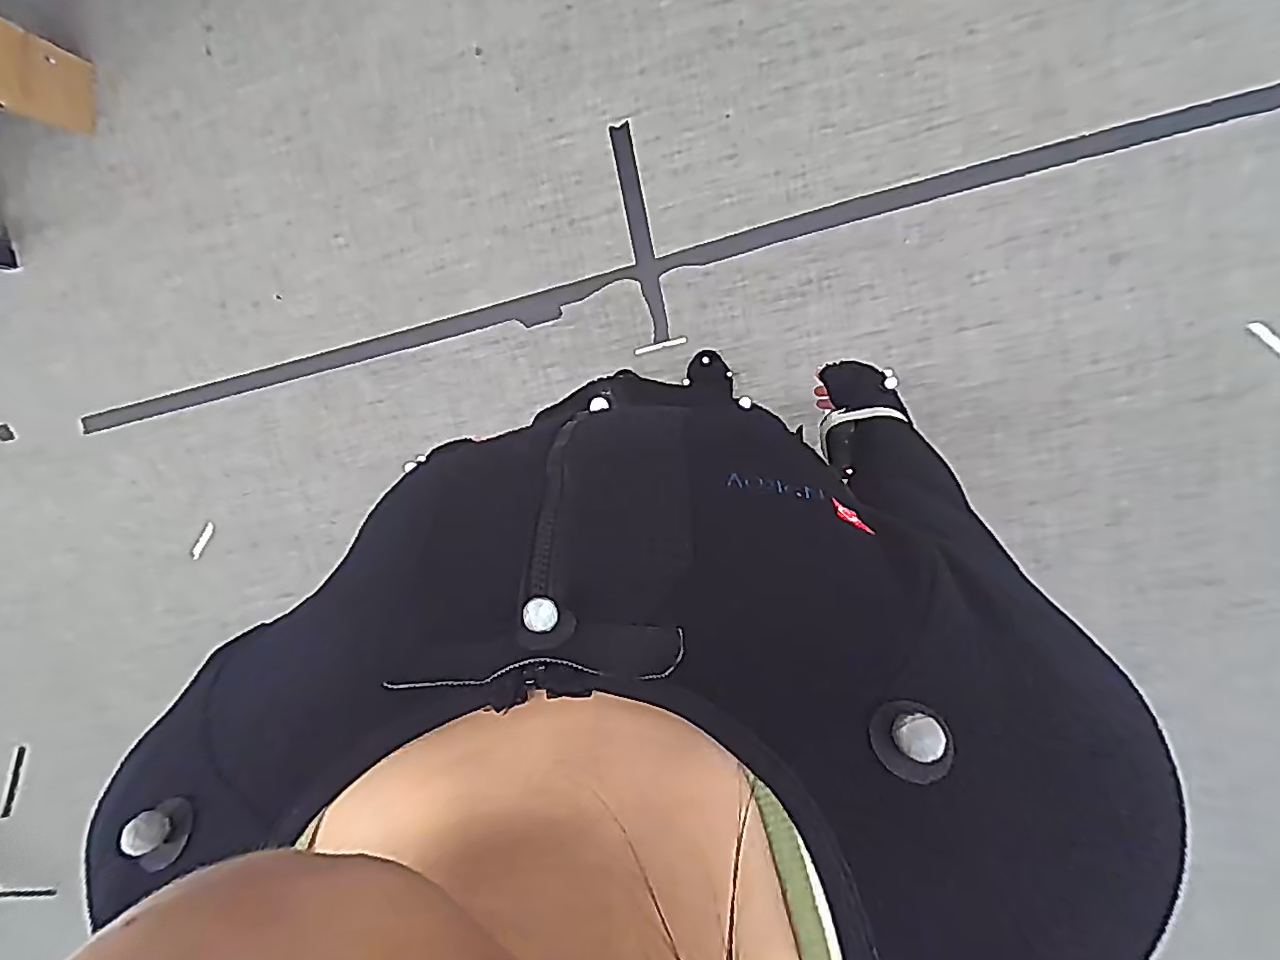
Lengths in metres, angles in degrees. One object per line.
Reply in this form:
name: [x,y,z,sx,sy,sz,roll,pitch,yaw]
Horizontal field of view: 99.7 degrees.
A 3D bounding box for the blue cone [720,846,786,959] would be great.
blue cone: [0.337,1.261,1.525,0.193,0.380,0.192,-8,102,8]
